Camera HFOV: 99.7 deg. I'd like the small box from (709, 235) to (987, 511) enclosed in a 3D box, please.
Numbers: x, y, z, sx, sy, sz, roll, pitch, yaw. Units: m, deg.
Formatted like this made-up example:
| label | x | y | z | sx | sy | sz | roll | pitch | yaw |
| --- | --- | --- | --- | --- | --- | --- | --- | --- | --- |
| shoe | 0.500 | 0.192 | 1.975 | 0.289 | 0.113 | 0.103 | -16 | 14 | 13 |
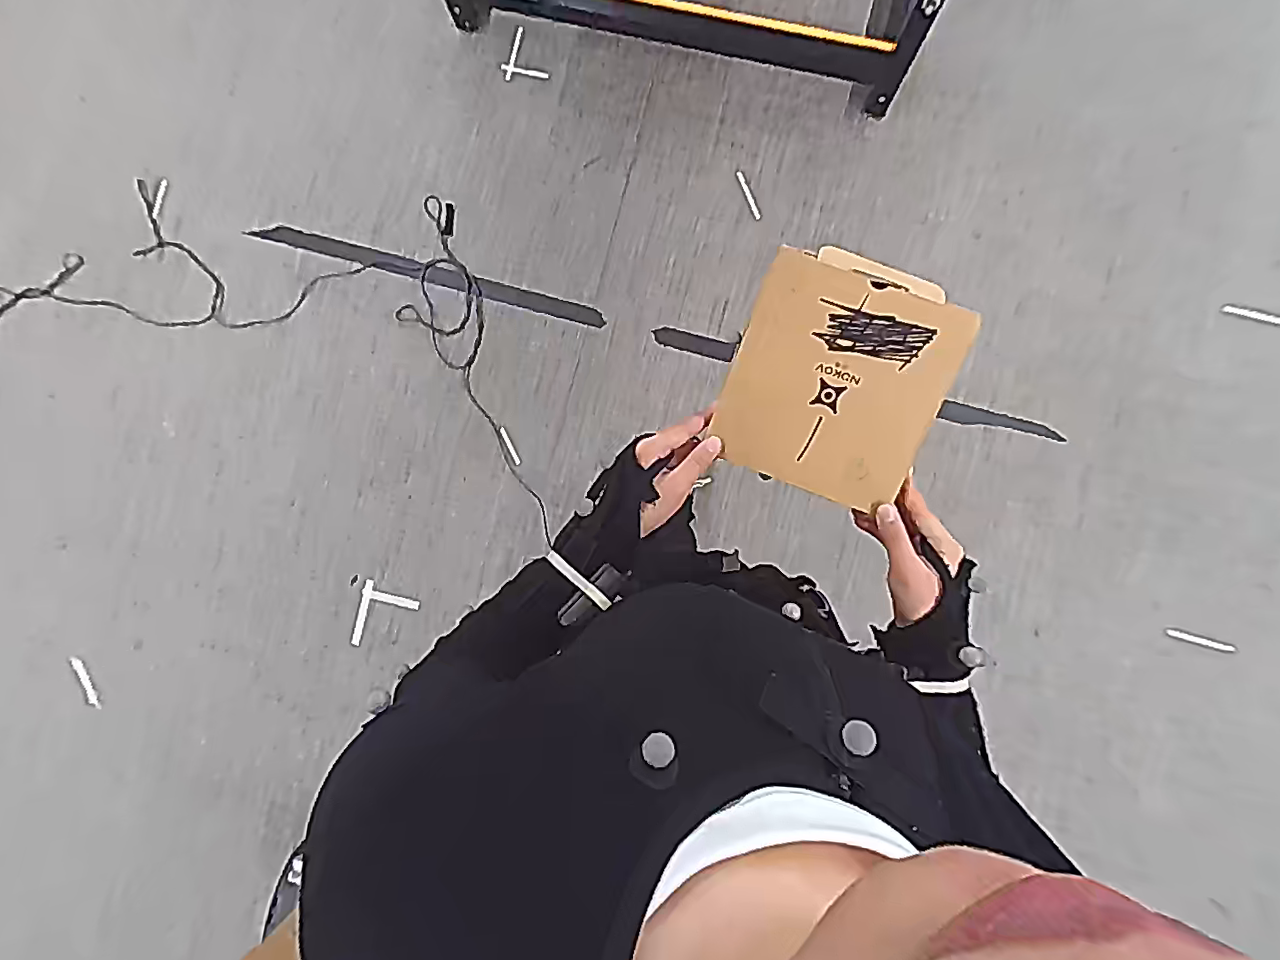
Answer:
| label | x | y | z | sx | sy | sz | roll | pitch | yaw |
| --- | --- | --- | --- | --- | --- | --- | --- | --- | --- |
| small box | 0.170 | -0.095 | 0.508 | 0.168 | 0.176 | 0.179 | 22 | 101 | 4 |
